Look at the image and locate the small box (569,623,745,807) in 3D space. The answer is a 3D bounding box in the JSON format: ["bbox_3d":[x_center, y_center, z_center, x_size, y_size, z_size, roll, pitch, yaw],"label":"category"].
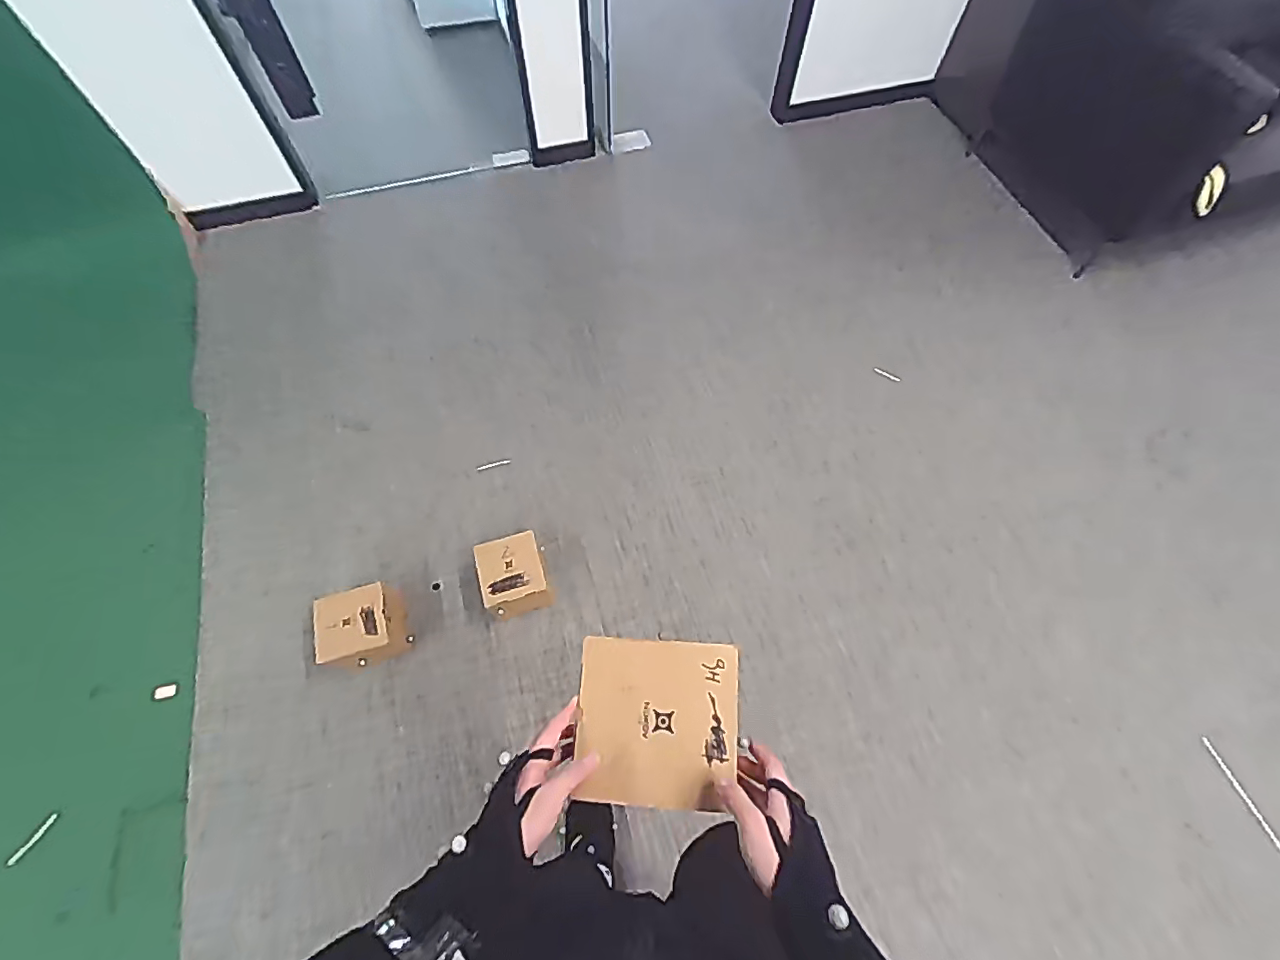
[{"bbox_3d":[0.027,0.268,0.641,0.179,0.176,0.168,3,71,6],"label":"small box"}]

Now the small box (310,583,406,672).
[{"bbox_3d":[-0.729,0.389,1.414,0.179,0.176,0.168,-15,64,-8],"label":"small box"}]
